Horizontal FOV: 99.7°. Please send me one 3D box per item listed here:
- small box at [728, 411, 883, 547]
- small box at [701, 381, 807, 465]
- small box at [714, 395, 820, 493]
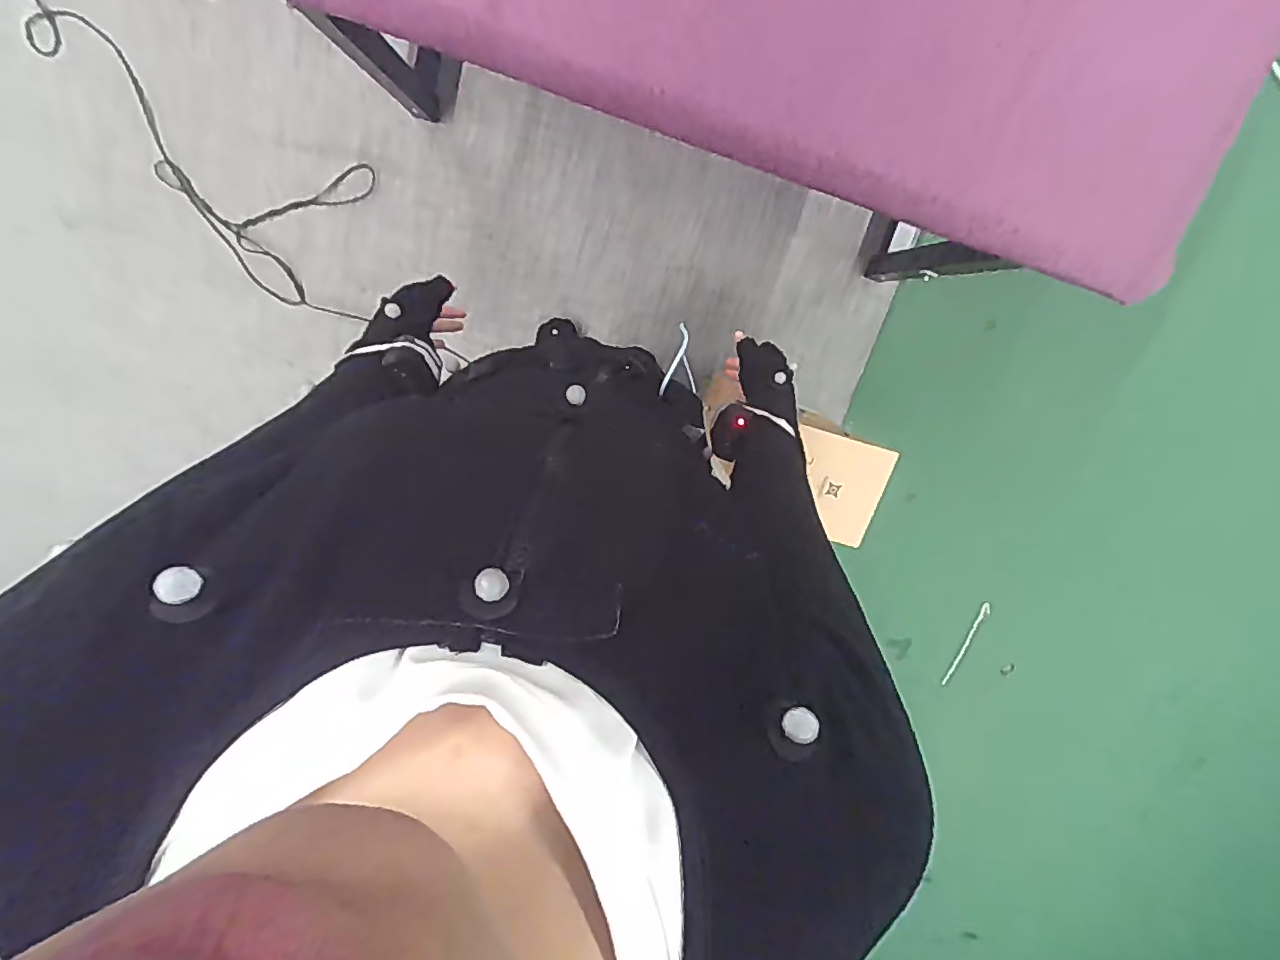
[{"bbox_3d":[0.271,-0.010,0.931,0.179,0.176,0.168,16,105,-8],"label":"small box"},{"bbox_3d":[0.250,-0.112,1.242,0.168,0.176,0.179,19,105,-9],"label":"small box"},{"bbox_3d":[0.259,-0.055,1.090,0.168,0.176,0.179,18,105,-9],"label":"small box"}]
